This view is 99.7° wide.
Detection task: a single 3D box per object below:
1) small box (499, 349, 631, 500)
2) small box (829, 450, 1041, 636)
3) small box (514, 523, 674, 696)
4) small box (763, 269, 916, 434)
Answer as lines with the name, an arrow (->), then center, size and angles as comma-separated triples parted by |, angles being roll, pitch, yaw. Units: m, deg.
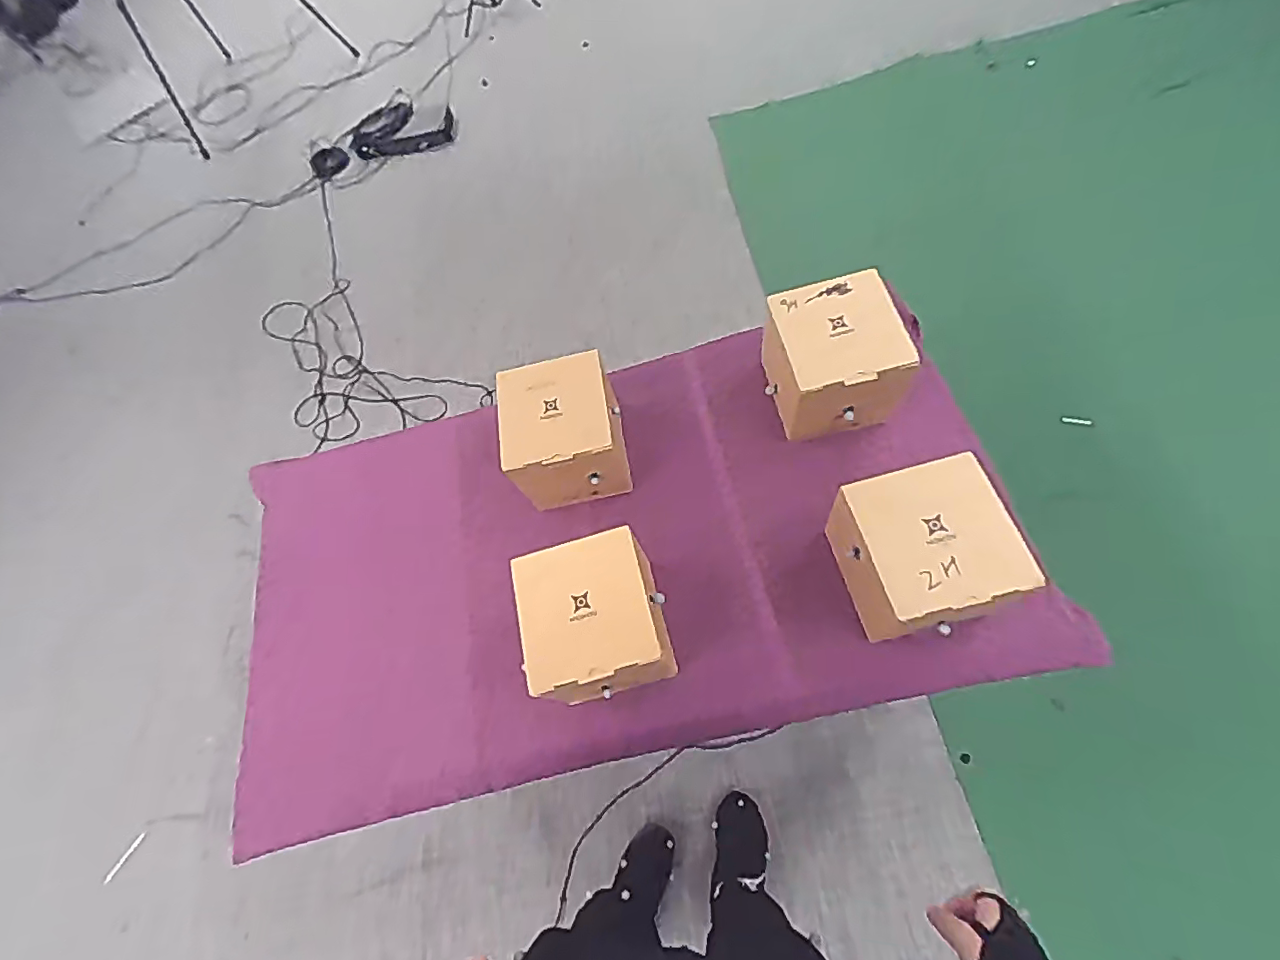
small box -> -0.115, -0.078, 0.873 | 0.168, 0.176, 0.179 | -11, 65, 4
small box -> 0.361, 0.090, 0.708 | 0.168, 0.176, 0.179 | -15, 64, 5
small box -> -0.058, 0.185, 0.746 | 0.168, 0.176, 0.179 | -17, 64, 2
small box -> 0.296, -0.187, 0.844 | 0.168, 0.176, 0.179 | -13, 67, 4
